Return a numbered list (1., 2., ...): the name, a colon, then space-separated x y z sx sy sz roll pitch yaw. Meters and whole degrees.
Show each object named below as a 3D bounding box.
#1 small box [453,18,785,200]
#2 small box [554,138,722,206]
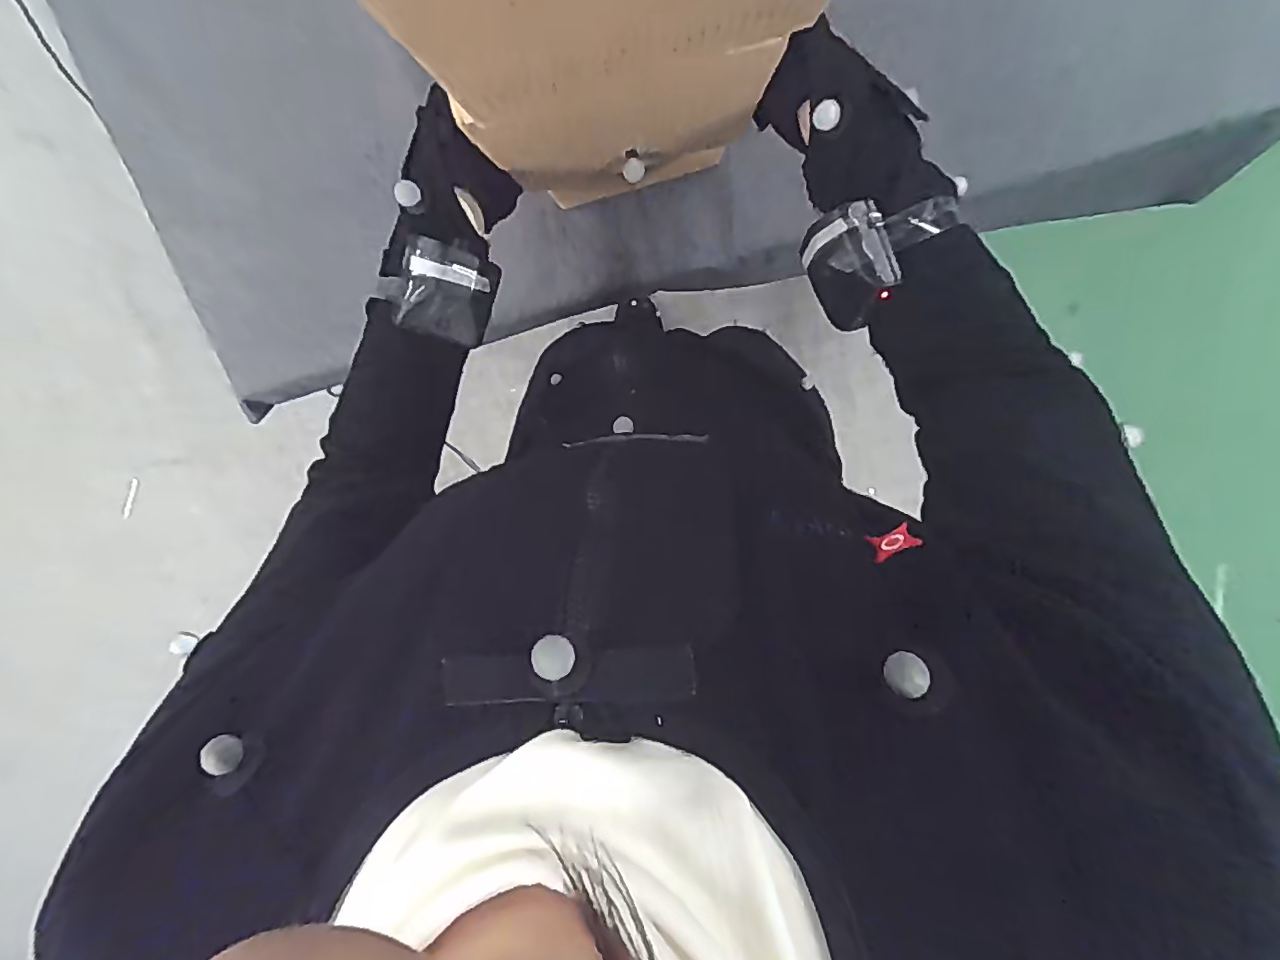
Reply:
1. small box: -0.028 -0.297 0.334 0.179 0.176 0.168 -14 105 7
2. small box: -0.024 -0.365 0.482 0.179 0.176 0.168 -13 106 7
